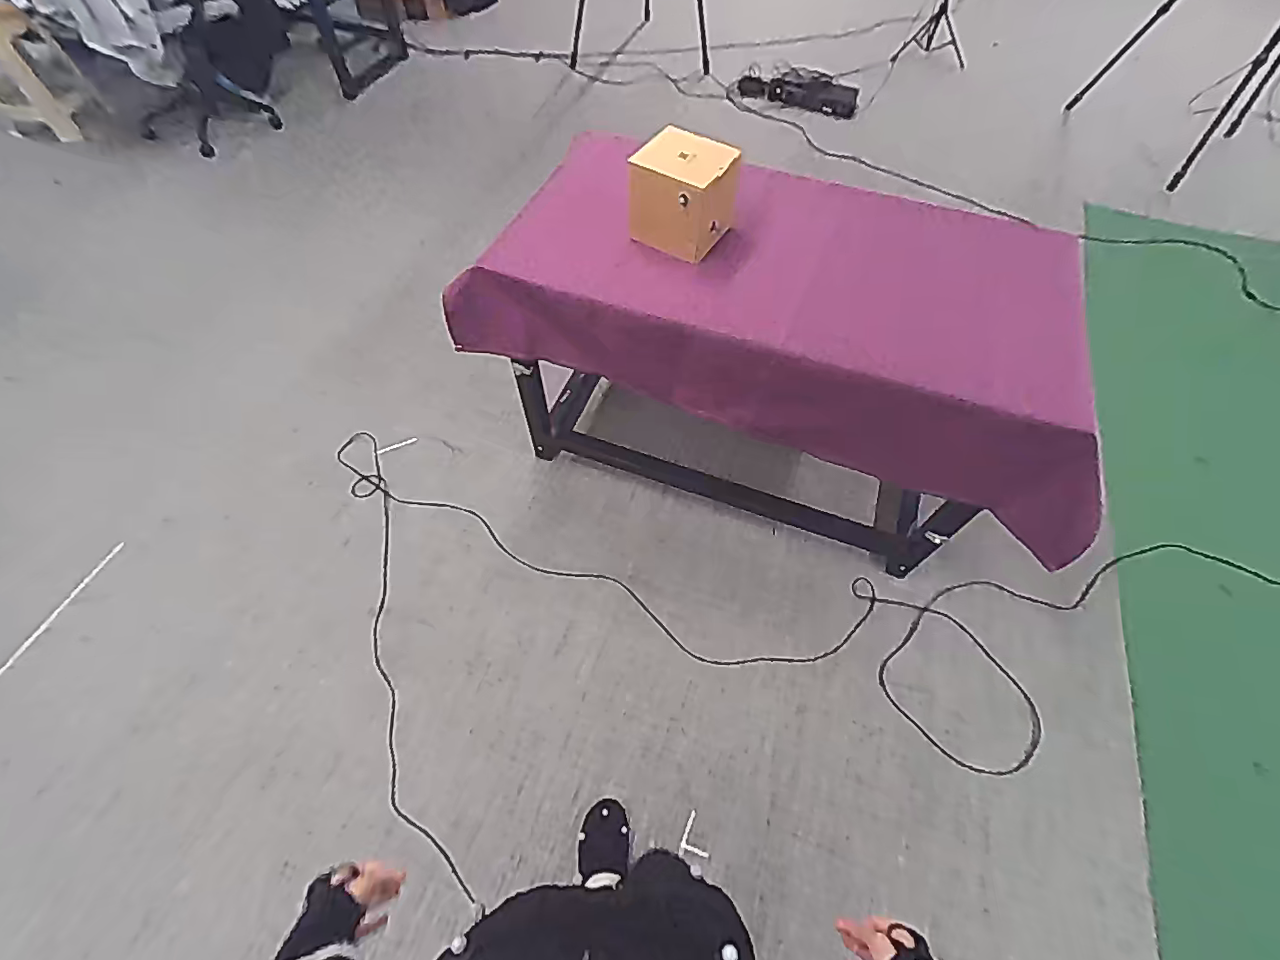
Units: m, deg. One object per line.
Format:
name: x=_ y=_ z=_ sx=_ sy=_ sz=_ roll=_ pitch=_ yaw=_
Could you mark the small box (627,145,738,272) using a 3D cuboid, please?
small box: x=0.086 y=-0.581 z=1.165 sx=0.179 sy=0.176 sz=0.168 roll=28 pitch=61 yaw=15
